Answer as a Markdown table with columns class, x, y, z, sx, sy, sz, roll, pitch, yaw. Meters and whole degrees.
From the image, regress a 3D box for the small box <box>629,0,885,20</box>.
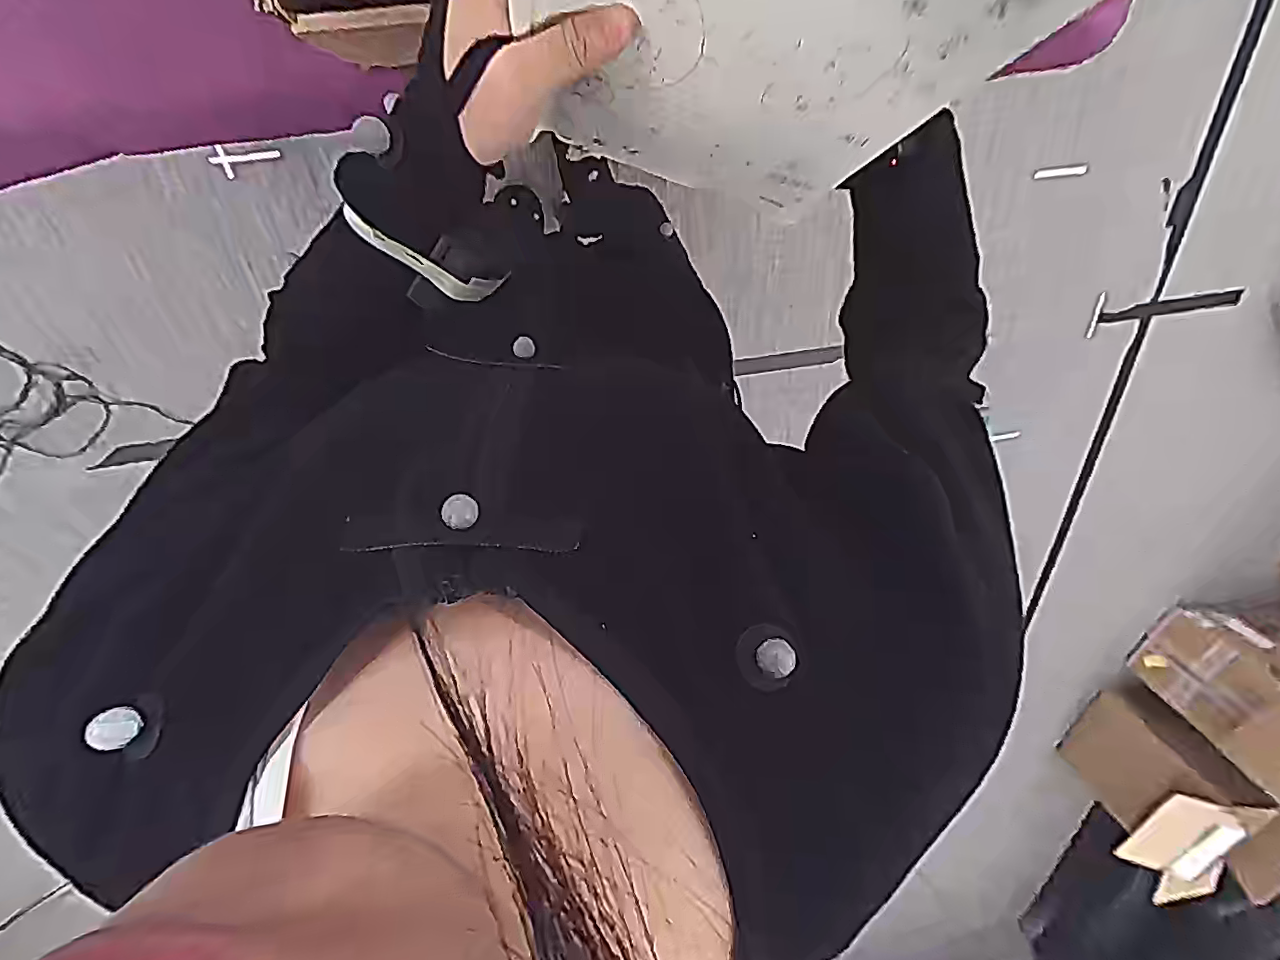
| class | x | y | z | sx | sy | sz | roll | pitch | yaw |
| --- | --- | --- | --- | --- | --- | --- | --- | --- | --- |
| small box | 0.074 | -0.326 | 0.238 | 0.168 | 0.176 | 0.179 | -9 | 122 | -8 |
